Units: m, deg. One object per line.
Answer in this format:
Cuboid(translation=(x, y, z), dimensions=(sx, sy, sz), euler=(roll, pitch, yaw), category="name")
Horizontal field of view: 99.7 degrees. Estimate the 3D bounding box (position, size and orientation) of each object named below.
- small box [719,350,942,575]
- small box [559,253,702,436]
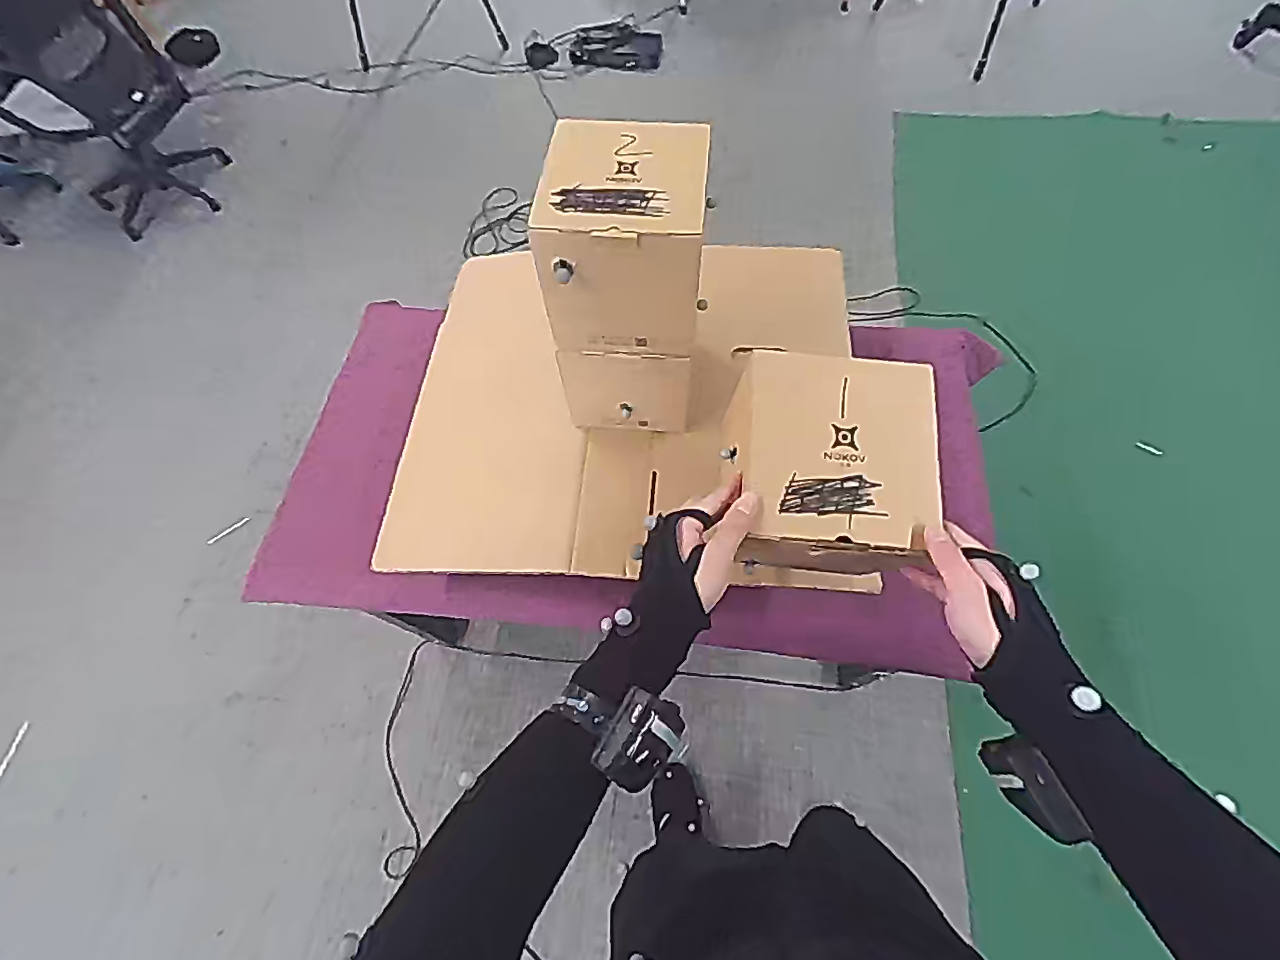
Cuboid(translation=(0.176, -0.005, 0.543), dimensions=(0.168, 0.176, 0.179), euler=(6, 73, 1), category="small box")
Cuboid(translation=(-0.007, -0.183, 0.750), dimensions=(0.168, 0.176, 0.179), euler=(4, 64, 4), category="small box")
